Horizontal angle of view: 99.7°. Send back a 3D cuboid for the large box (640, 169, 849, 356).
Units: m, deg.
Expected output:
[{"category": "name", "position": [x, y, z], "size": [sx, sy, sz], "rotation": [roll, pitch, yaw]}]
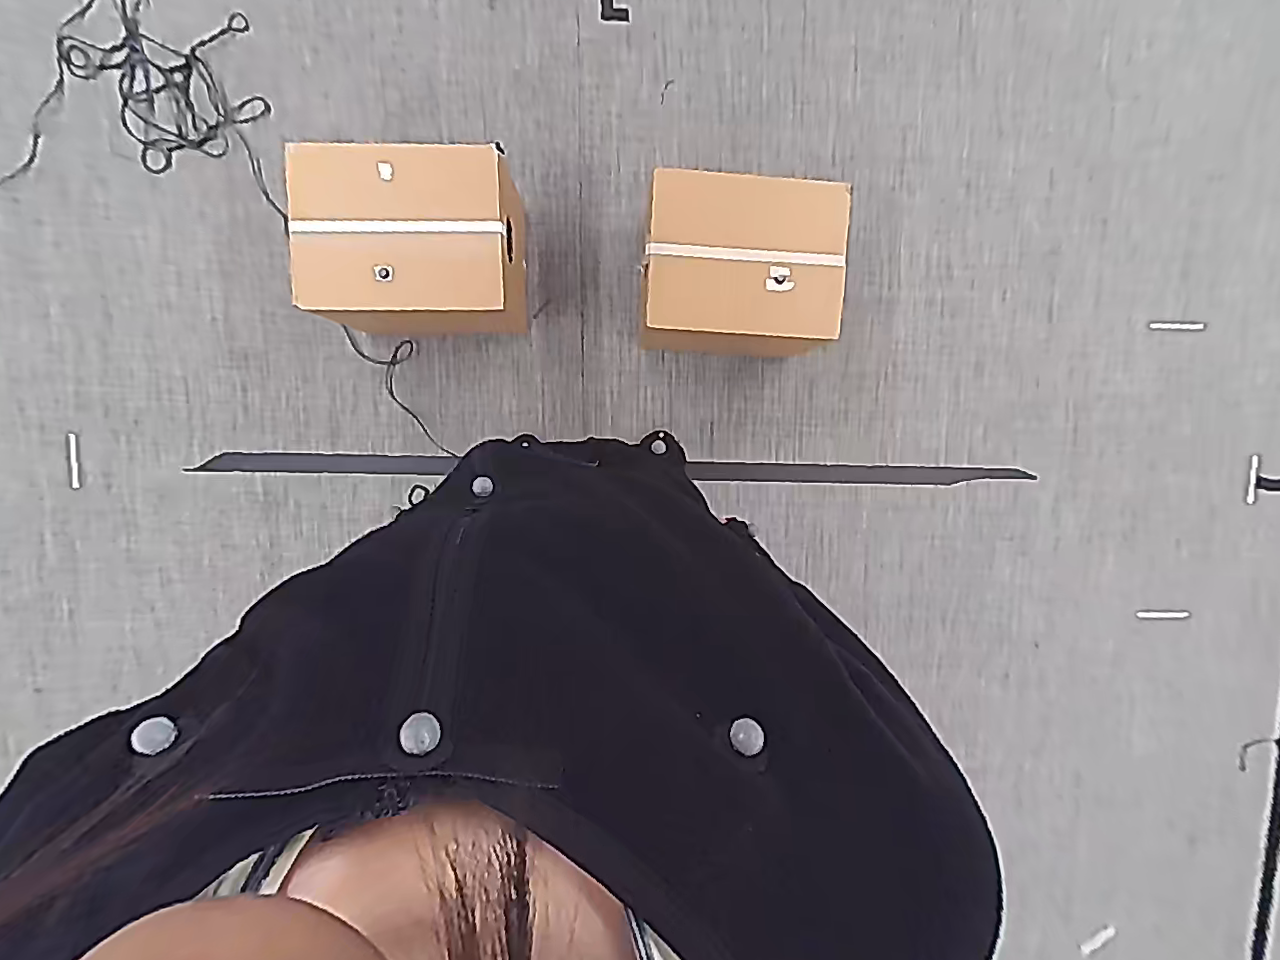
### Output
[{"category": "large box", "position": [0.212, -0.473, 1.251], "size": [0.408, 0.320, 0.320], "rotation": [3, 95, -4]}]
